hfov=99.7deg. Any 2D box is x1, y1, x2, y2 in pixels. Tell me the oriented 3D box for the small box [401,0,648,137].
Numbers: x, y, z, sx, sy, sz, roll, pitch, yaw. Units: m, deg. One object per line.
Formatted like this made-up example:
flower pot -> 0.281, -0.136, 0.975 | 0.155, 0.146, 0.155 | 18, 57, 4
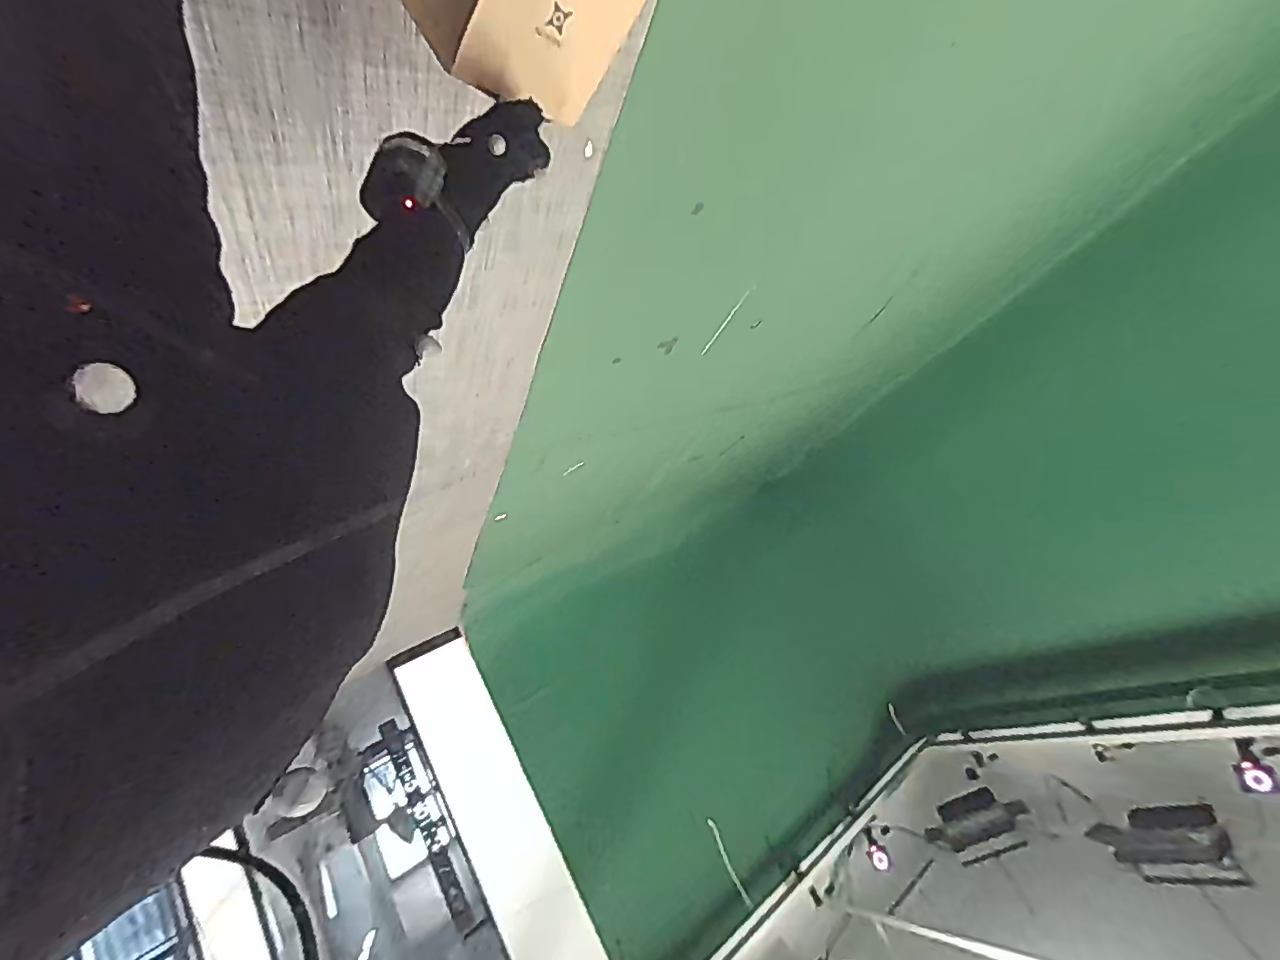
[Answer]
small box -> -0.126, -0.505, 0.548 | 0.168, 0.176, 0.179 | -16, 159, -49
